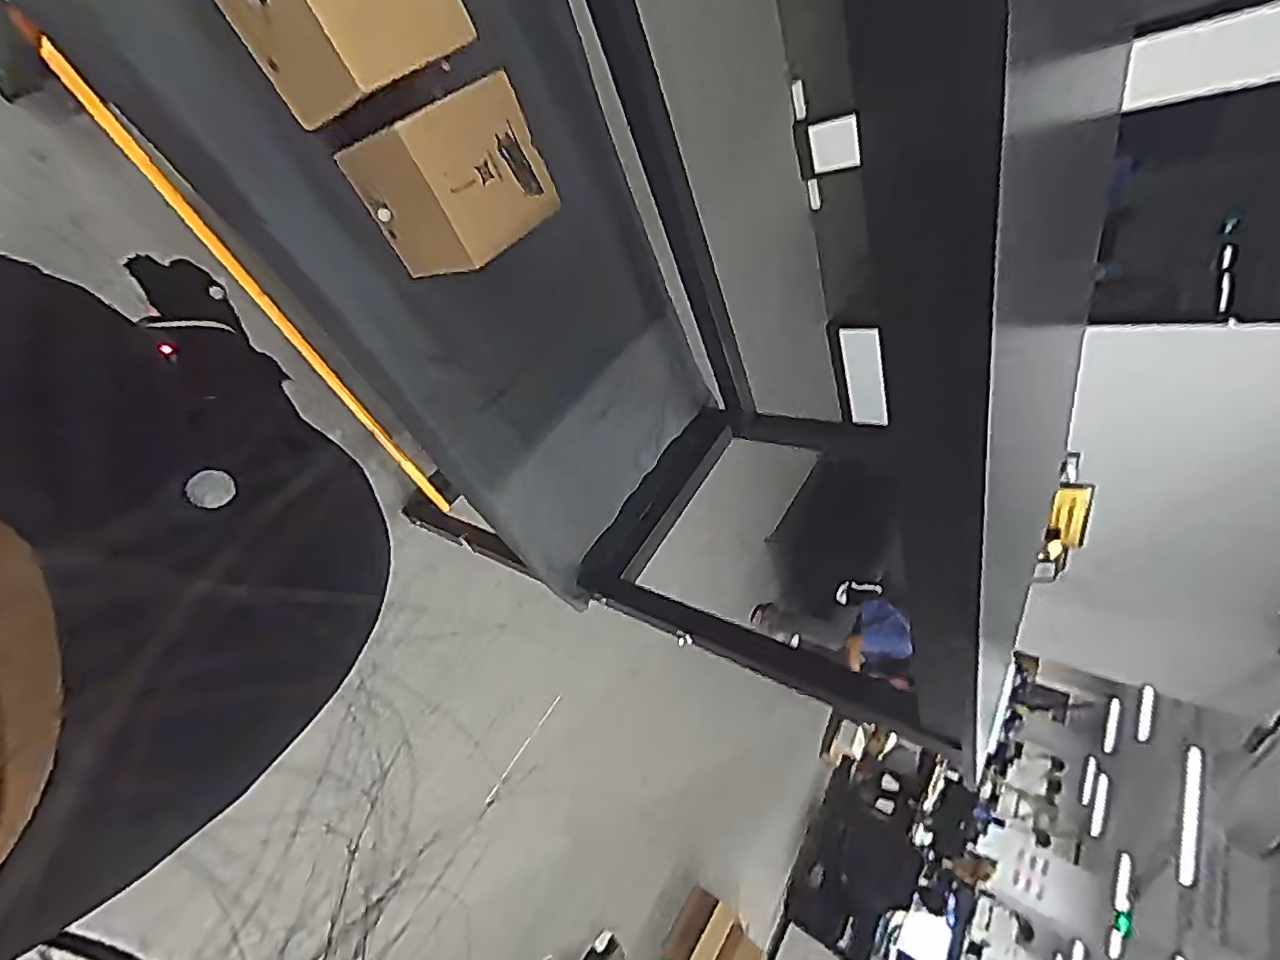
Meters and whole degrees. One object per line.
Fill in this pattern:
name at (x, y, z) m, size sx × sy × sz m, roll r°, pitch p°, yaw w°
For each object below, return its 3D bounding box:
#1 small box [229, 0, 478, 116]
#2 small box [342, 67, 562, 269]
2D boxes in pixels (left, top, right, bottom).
small box at (-0.319, -0.524, 0.578) m, size 0.179 × 0.176 × 0.168 m, roll -53°, pitch 136°, yaw -27°
small box at (-0.242, -0.396, 0.706) m, size 0.179 × 0.176 × 0.168 m, roll -51°, pitch 134°, yaw -27°
